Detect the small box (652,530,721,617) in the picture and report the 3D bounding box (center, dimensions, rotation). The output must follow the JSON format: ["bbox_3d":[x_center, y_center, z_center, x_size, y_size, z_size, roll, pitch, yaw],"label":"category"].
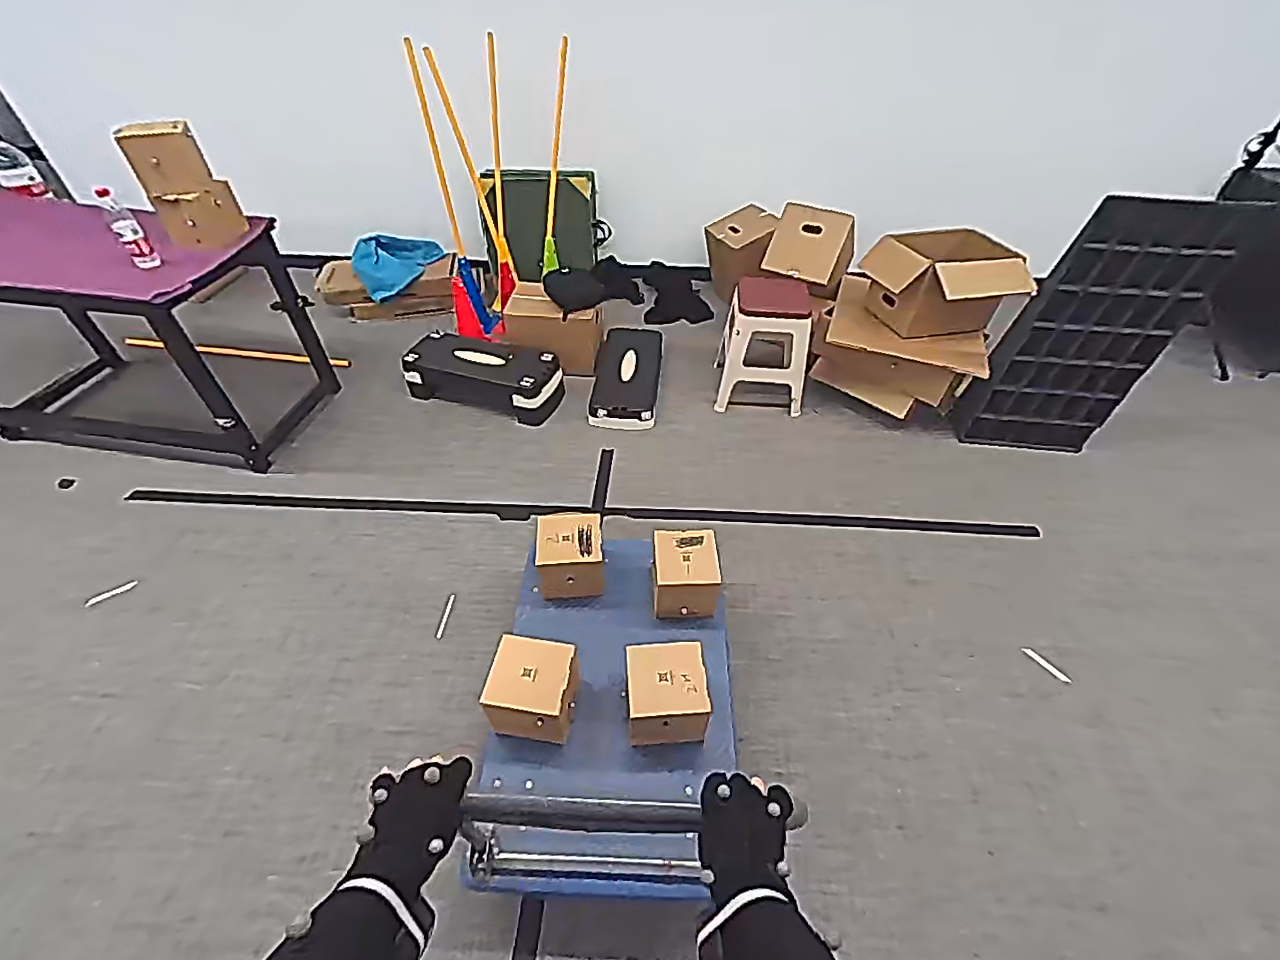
[{"bbox_3d":[0.121,0.256,1.476,0.168,0.176,0.179,-1,47,-2],"label":"small box"}]

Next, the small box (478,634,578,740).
[{"bbox_3d":[-0.249,0.481,1.248,0.179,0.176,0.168,8,46,4],"label":"small box"}]

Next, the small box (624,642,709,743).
[{"bbox_3d":[0.056,0.492,1.243,0.179,0.176,0.168,-2,46,-3],"label":"small box"}]
